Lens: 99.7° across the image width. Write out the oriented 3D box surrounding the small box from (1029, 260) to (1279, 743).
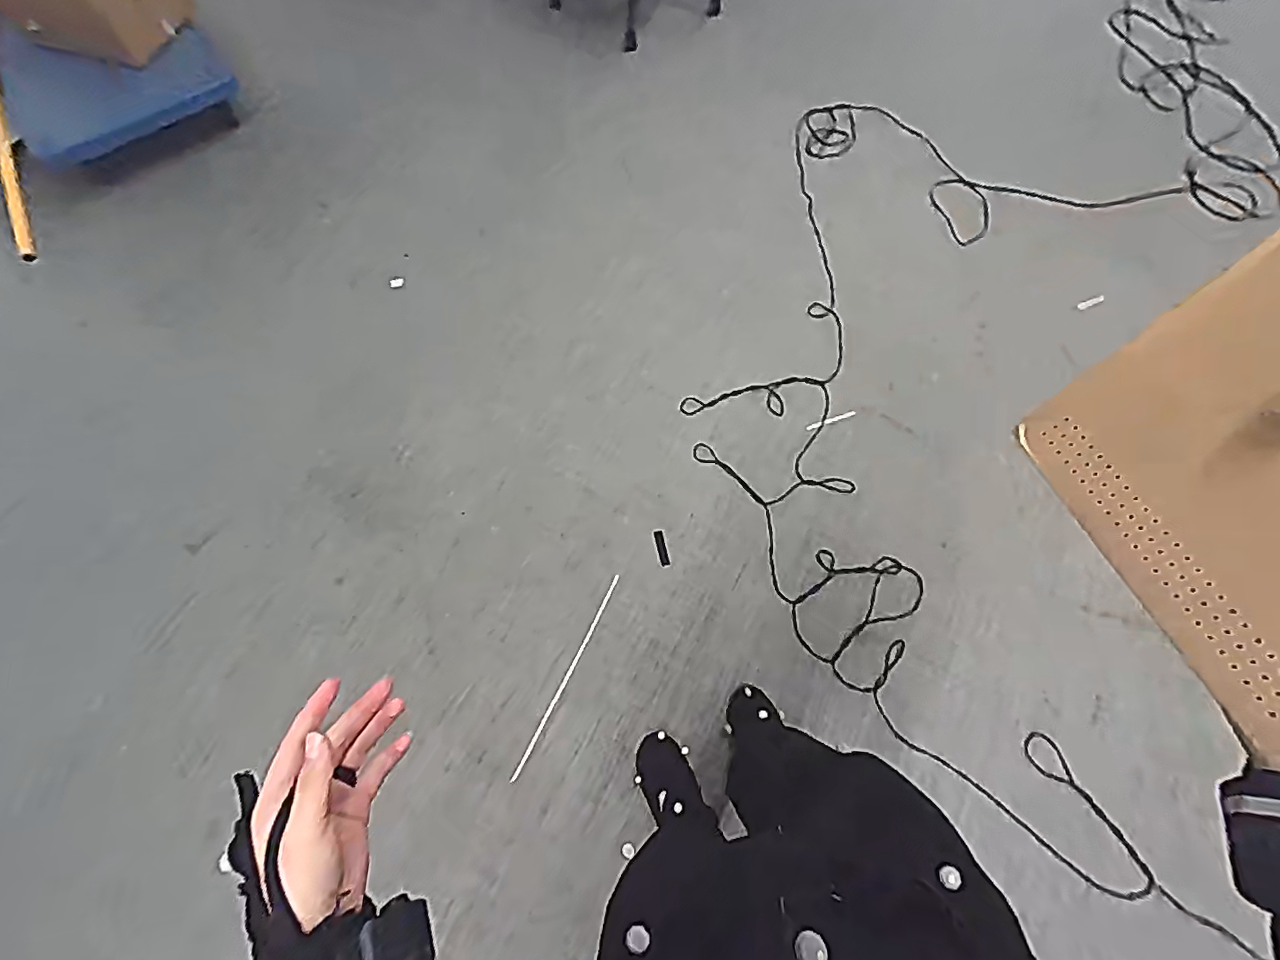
[{"bbox_3d":[0.337,0.001,0.245,0.168,0.176,0.179,0,54,-25],"label":"small box"}]
